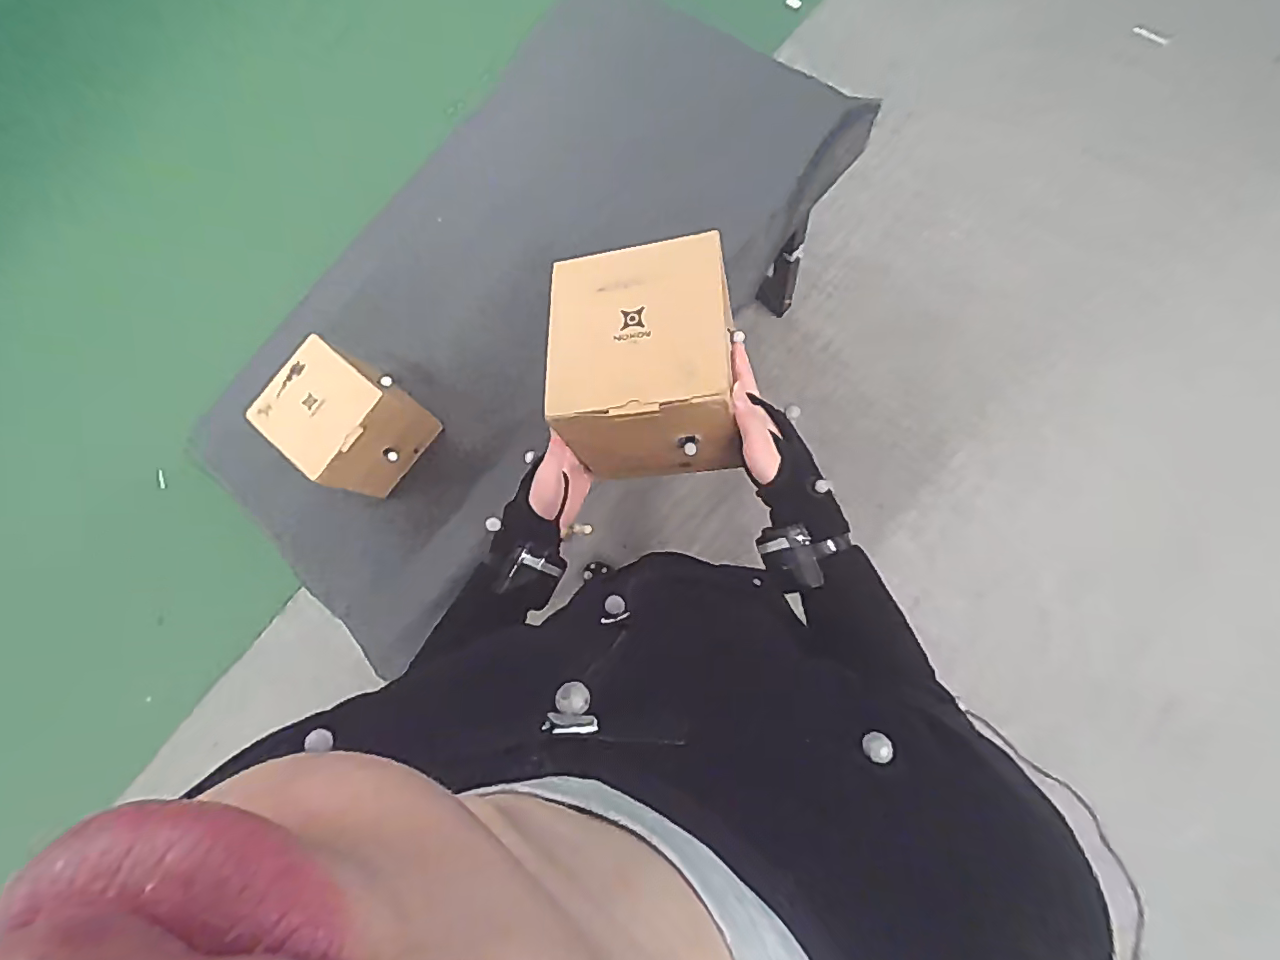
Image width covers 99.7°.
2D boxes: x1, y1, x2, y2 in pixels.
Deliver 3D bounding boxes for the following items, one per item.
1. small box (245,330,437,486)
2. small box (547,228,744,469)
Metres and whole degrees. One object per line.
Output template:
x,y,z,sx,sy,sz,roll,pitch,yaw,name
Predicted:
-0.473,-0.105,0.883,0.179,0.176,0.168,38,88,13,small box
0.015,-0.119,0.560,0.168,0.176,0.179,-5,68,12,small box
